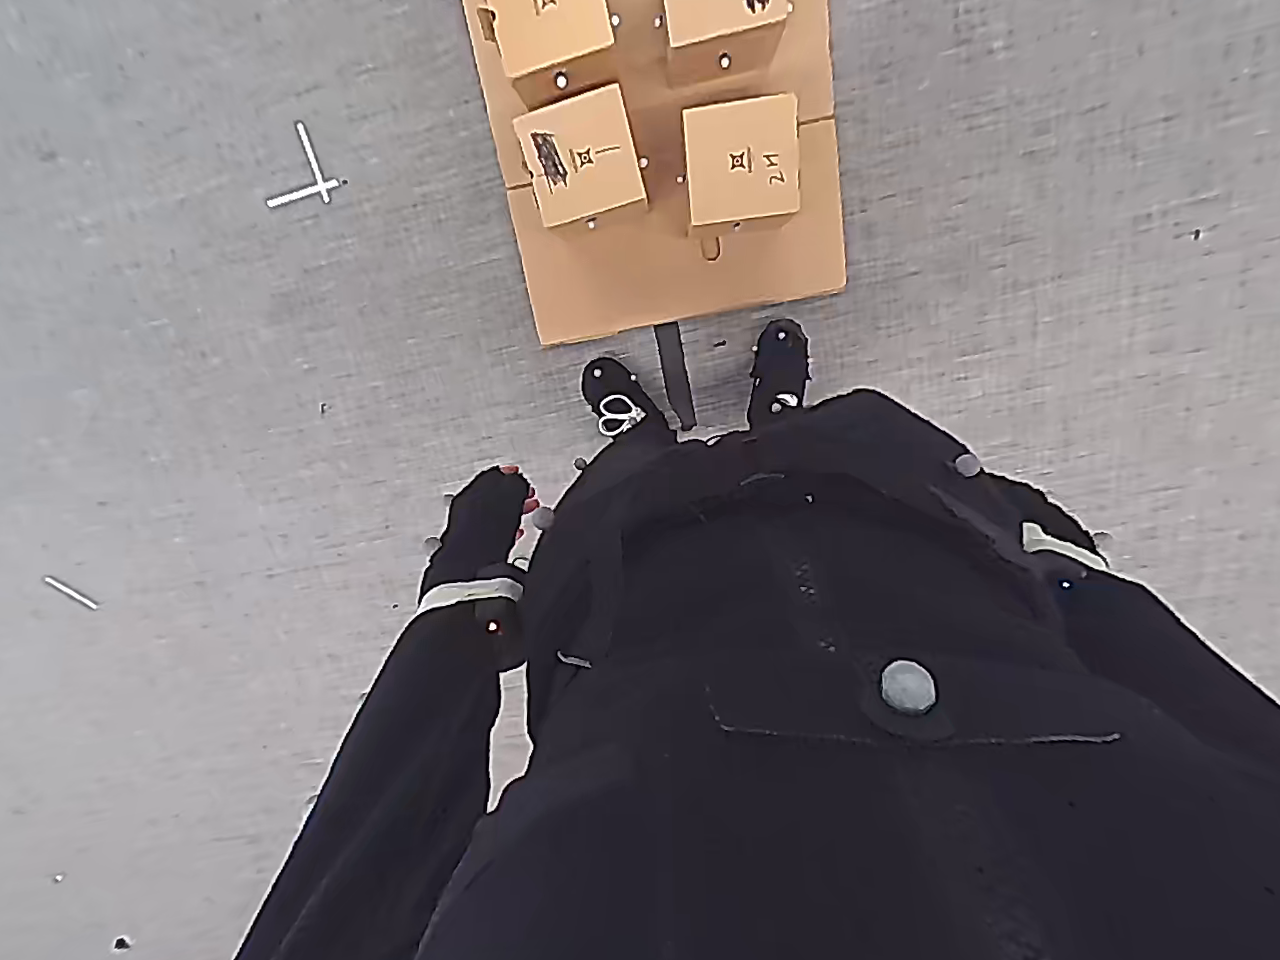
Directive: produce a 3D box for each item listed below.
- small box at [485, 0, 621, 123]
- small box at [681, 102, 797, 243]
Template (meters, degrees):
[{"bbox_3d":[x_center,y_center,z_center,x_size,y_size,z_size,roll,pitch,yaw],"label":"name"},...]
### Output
[{"bbox_3d":[-0.133,-0.719,0.881,0.179,0.176,0.168,-13,105,8],"label":"small box"},{"bbox_3d":[0.164,-0.512,0.926,0.179,0.176,0.168,-5,107,5],"label":"small box"}]
